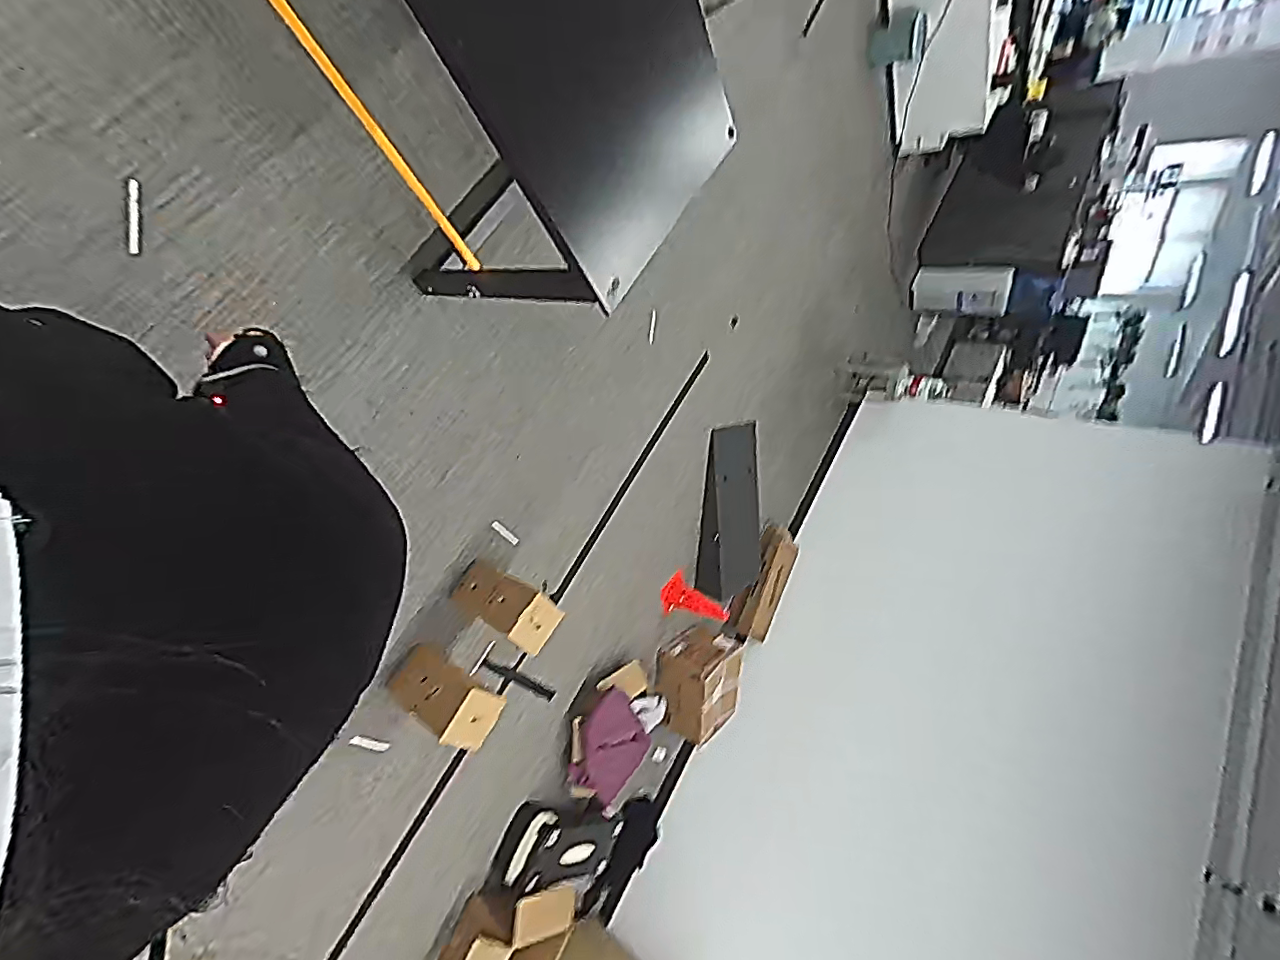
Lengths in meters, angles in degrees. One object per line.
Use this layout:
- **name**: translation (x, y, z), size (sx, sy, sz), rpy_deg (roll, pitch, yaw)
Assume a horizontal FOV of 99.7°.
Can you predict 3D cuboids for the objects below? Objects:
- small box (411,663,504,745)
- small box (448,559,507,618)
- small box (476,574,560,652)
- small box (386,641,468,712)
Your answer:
- **small box**: translation (-0.573, 0.700, 1.698), size (0.168, 0.176, 0.179), rpy_deg (-61, 141, -18)
- **small box**: translation (-0.534, 0.395, 1.897), size (0.168, 0.176, 0.179), rpy_deg (-59, 141, -18)
- **small box**: translation (-0.405, 0.437, 1.801), size (0.168, 0.176, 0.179), rpy_deg (-56, 140, -23)
- **small box**: translation (-0.701, 0.665, 1.791), size (0.179, 0.176, 0.168), rpy_deg (-56, 140, -20)
